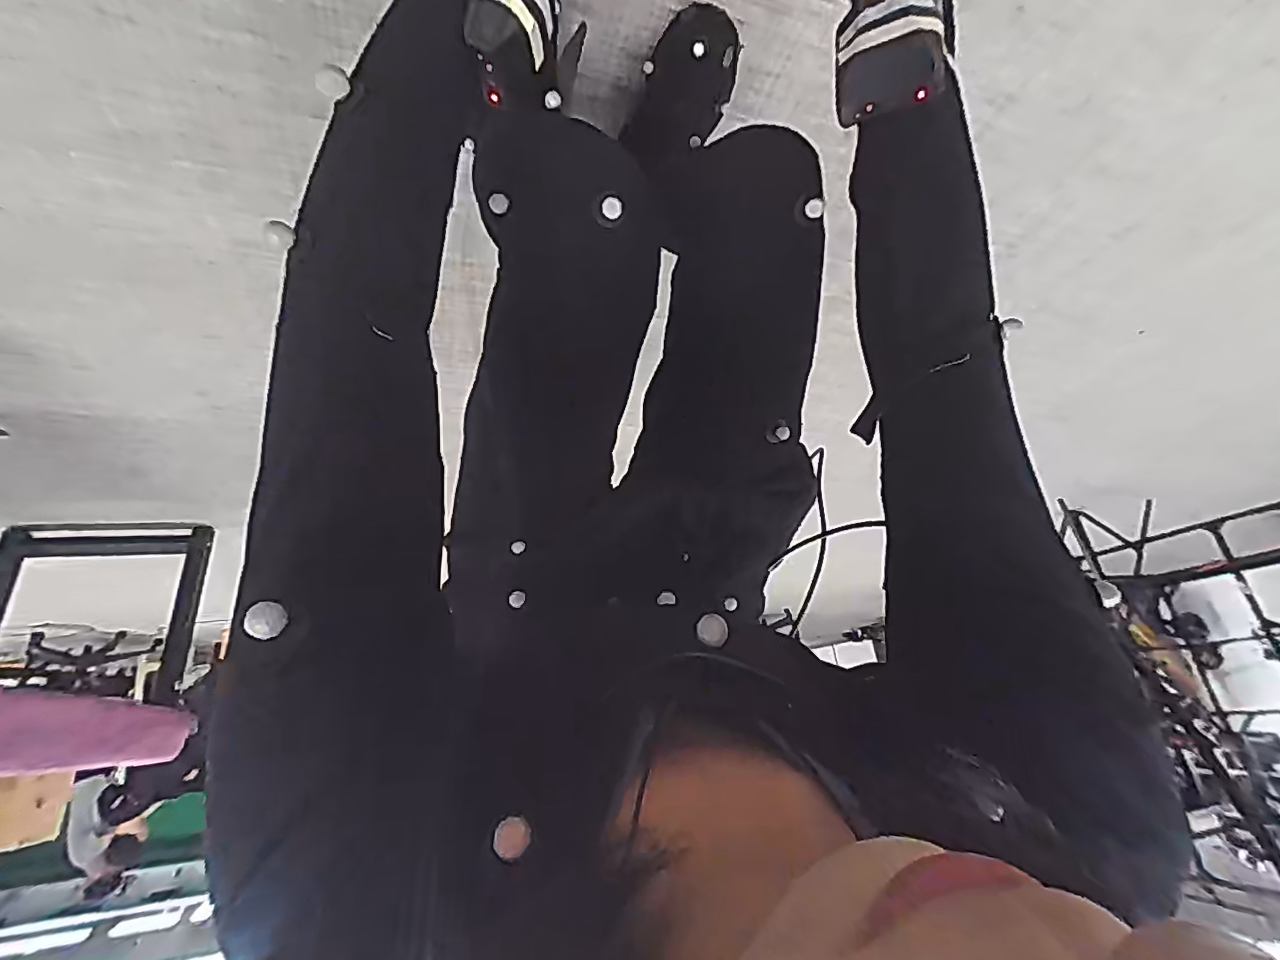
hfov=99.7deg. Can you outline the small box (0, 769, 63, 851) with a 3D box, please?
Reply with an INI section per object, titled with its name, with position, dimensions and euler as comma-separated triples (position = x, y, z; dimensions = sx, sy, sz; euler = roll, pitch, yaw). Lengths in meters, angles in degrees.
[small box]
position = -1.588, 0.813, 1.328
dimensions = 0.179, 0.176, 0.168
euler = -3, 156, -8
